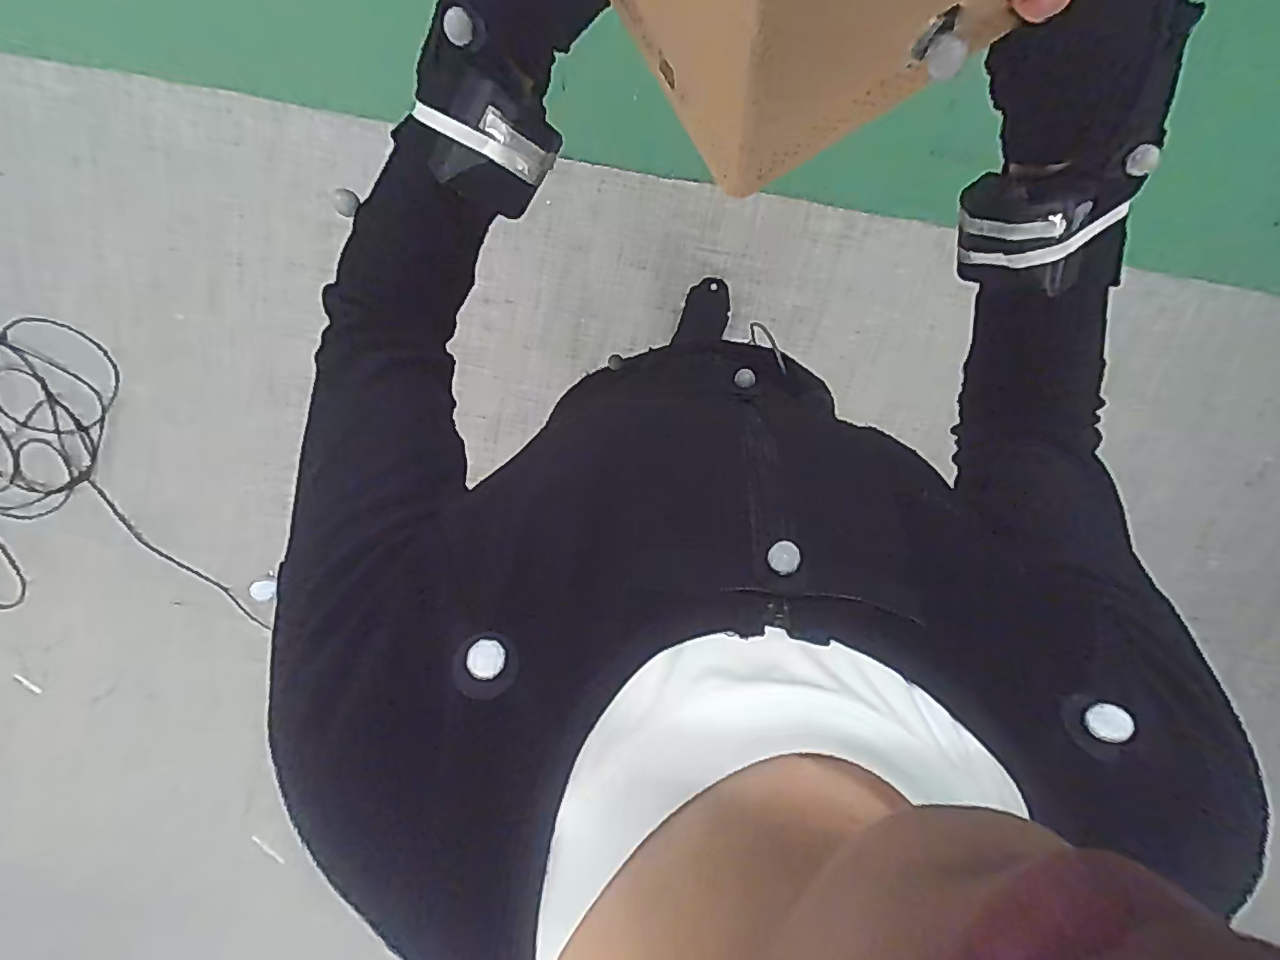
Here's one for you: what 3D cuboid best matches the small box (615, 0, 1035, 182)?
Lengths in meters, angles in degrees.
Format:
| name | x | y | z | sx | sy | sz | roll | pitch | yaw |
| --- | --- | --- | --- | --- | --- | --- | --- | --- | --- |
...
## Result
| name | x | y | z | sx | sy | sz | roll | pitch | yaw |
| --- | --- | --- | --- | --- | --- | --- | --- | --- | --- |
| small box | 0.069 | -0.243 | 0.168 | 0.179 | 0.176 | 0.168 | -30 | 88 | 6 |
